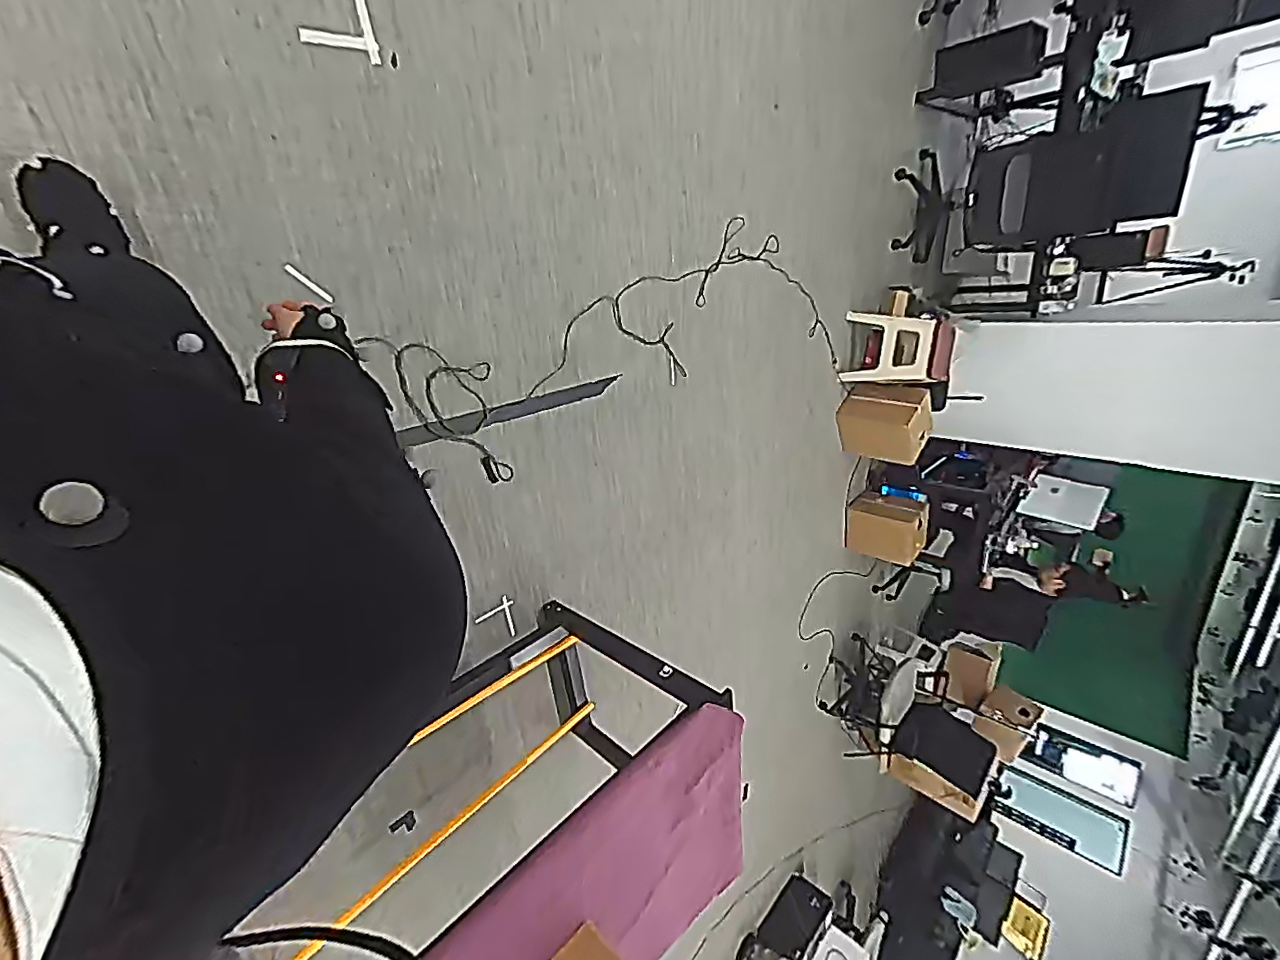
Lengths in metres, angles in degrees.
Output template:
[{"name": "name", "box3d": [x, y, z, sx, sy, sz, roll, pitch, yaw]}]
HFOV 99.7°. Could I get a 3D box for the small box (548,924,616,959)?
[{"name": "small box", "box3d": [-0.111, 1.028, 1.045, 0.179, 0.176, 0.168, -25, 119, -40]}]
